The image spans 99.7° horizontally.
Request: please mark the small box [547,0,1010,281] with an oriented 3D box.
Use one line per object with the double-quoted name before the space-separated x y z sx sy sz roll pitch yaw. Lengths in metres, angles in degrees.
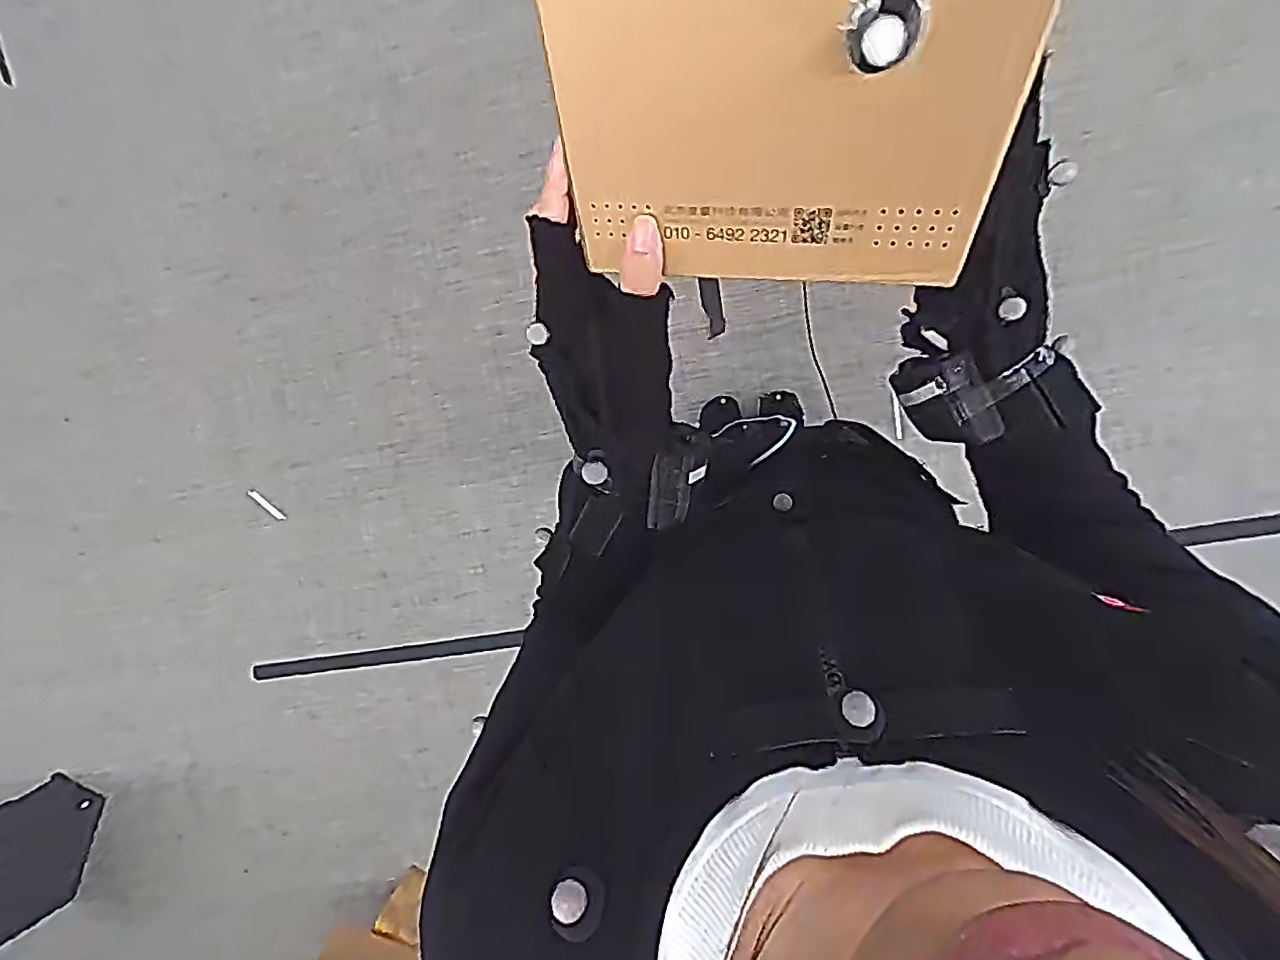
"small box" 0.068 -0.213 0.253 0.168 0.179 0.176 10 143 16
